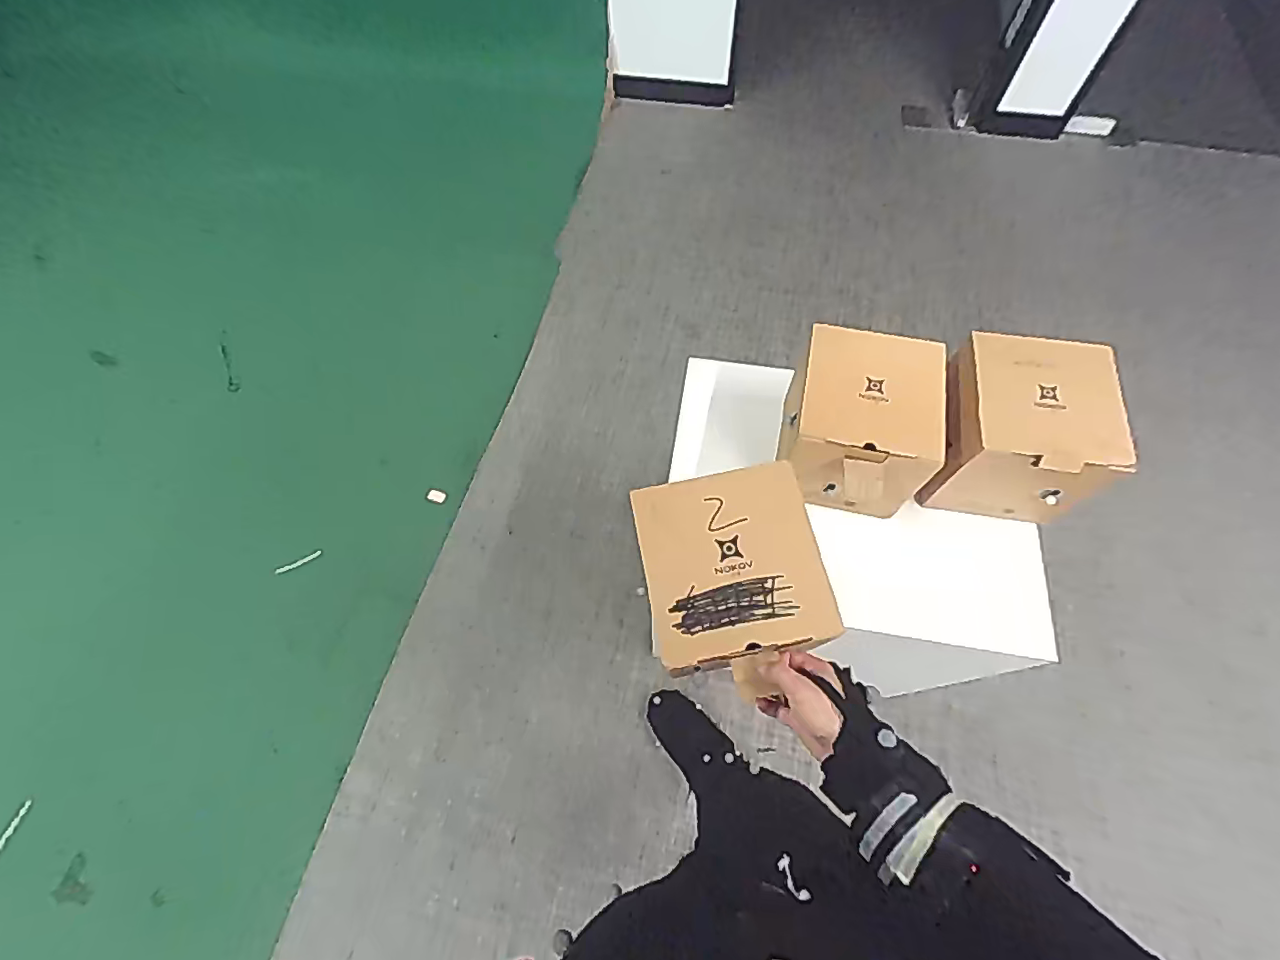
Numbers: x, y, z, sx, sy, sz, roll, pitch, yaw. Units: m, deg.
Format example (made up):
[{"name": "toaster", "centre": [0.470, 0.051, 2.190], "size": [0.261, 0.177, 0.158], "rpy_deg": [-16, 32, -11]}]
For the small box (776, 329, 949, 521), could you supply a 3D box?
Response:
[{"name": "small box", "centre": [0.285, -0.067, 0.718], "size": [0.168, 0.176, 0.179], "rpy_deg": [12, 66, 7]}]

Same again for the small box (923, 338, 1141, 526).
[{"name": "small box", "centre": [0.482, -0.055, 0.702], "size": [0.168, 0.176, 0.179], "rpy_deg": [8, 64, 6]}]
